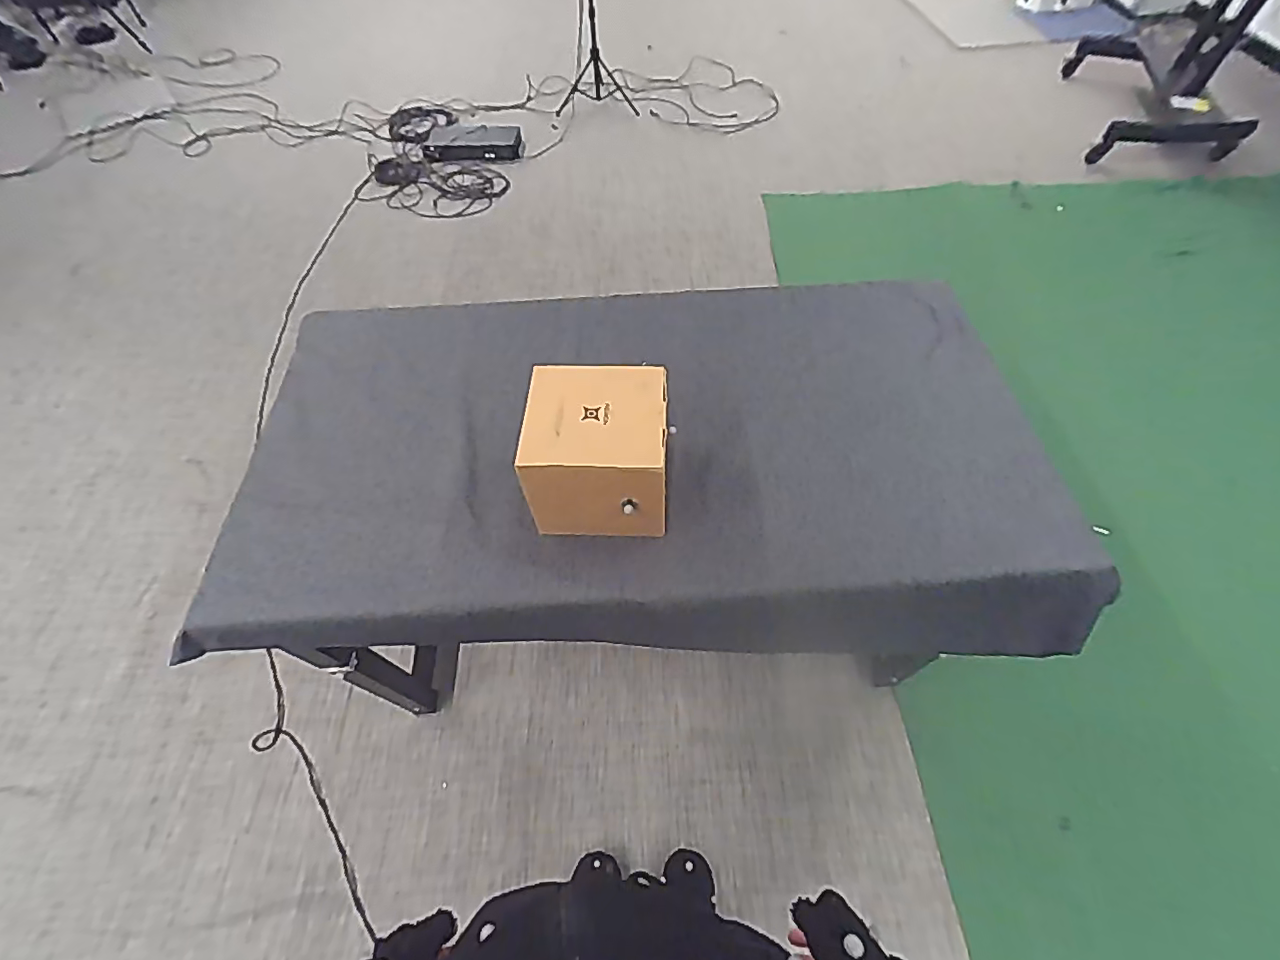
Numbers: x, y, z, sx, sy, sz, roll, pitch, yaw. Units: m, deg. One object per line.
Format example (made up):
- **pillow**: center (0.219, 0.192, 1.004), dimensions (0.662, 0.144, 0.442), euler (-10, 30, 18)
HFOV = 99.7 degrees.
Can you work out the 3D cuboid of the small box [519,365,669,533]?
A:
- **small box**: center (-0.050, -0.038, 0.736), dimensions (0.179, 0.176, 0.168), euler (0, 56, 3)
